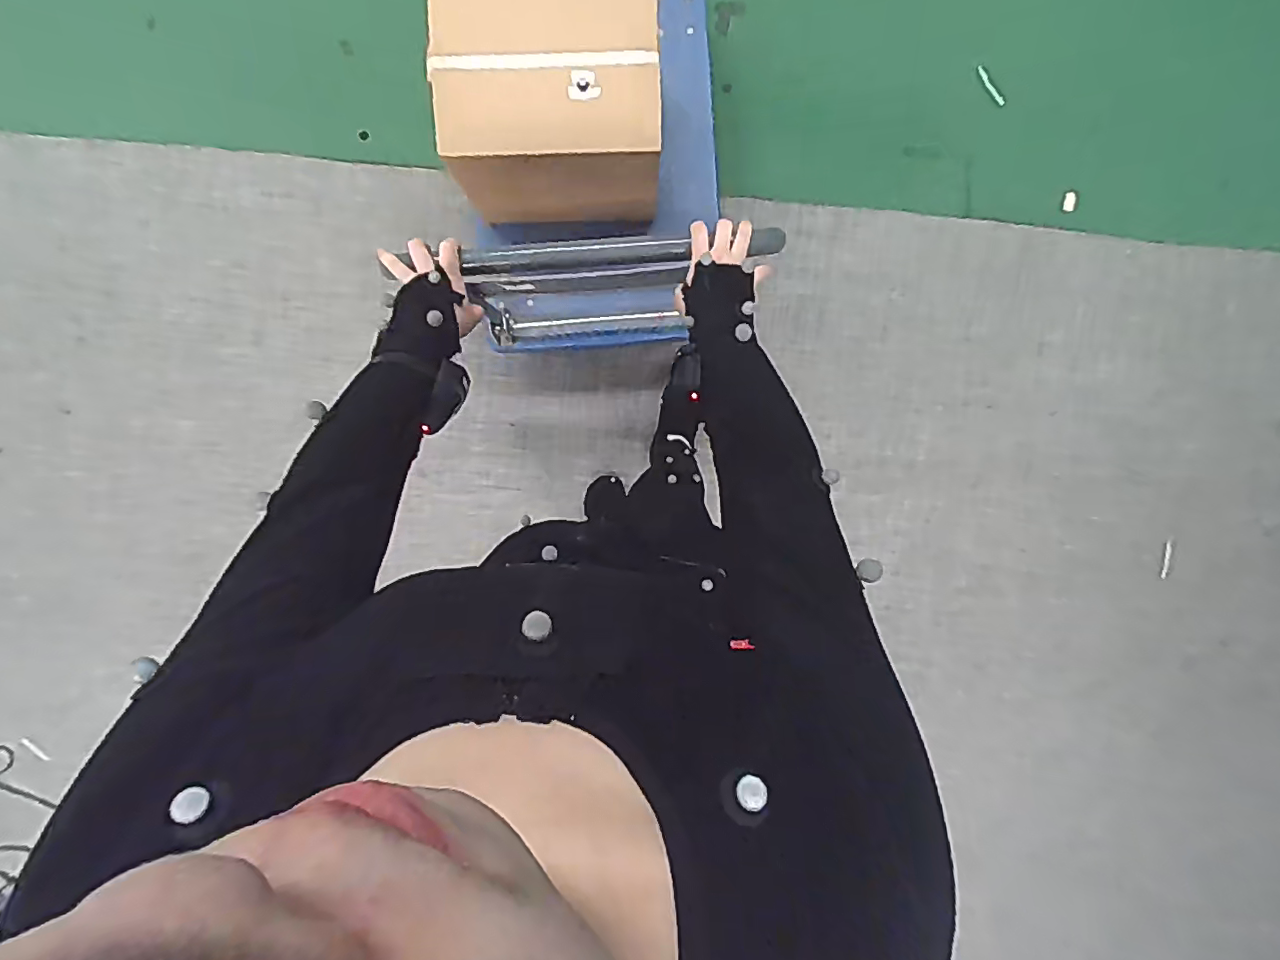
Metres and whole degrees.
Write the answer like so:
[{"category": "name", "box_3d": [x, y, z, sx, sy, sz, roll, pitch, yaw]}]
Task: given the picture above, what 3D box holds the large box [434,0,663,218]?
[{"category": "large box", "box_3d": [-0.169, -0.766, 1.118, 0.408, 0.320, 0.320, -2, 95, -2]}]
